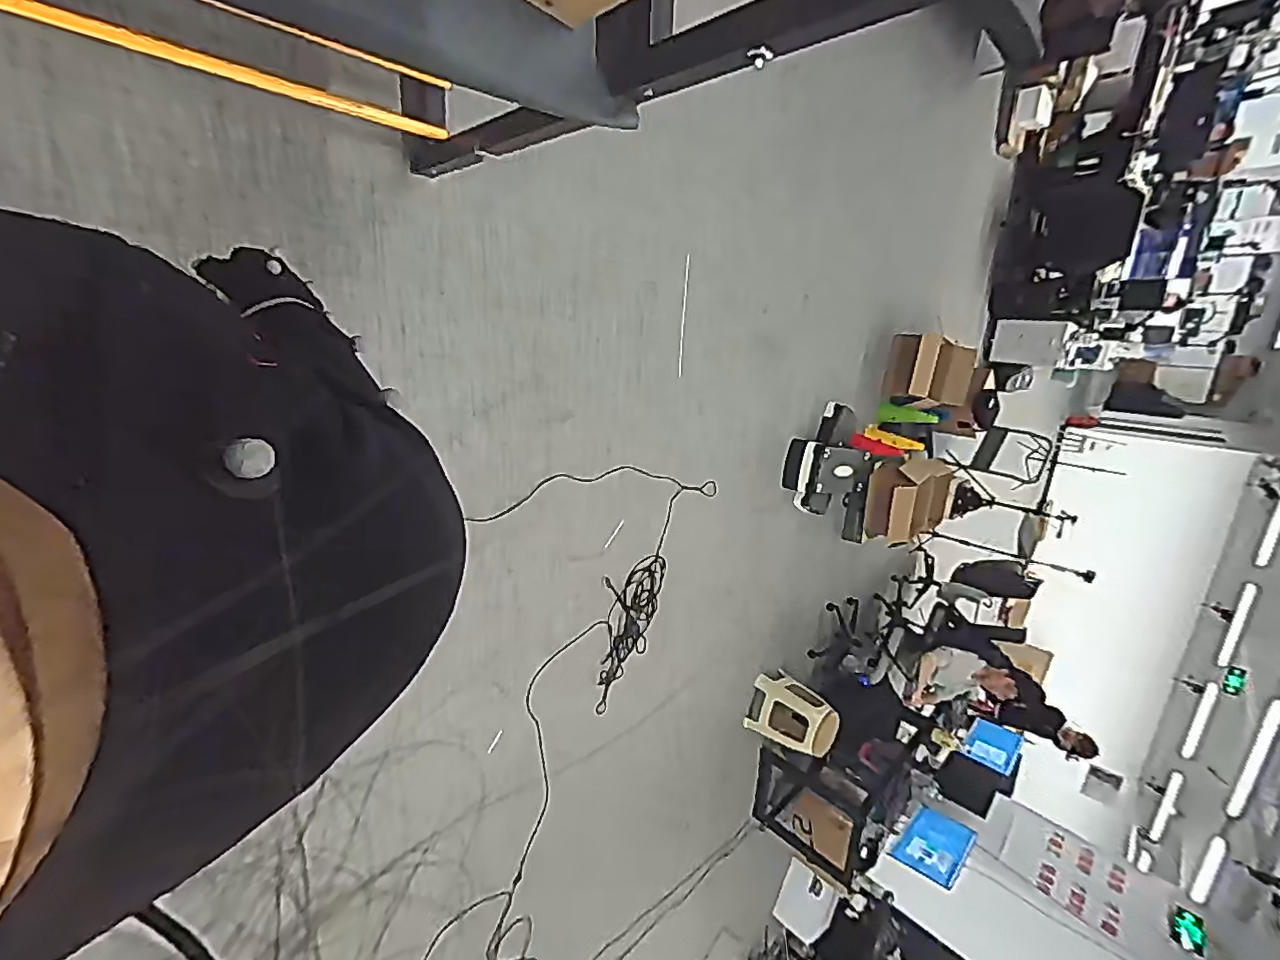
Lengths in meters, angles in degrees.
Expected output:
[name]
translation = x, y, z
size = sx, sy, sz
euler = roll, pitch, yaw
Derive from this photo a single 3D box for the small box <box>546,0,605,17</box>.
[small box]
translation = -0.090, -0.739, 0.678
size = 0.168, 0.176, 0.179
euler = -8, 108, -45
